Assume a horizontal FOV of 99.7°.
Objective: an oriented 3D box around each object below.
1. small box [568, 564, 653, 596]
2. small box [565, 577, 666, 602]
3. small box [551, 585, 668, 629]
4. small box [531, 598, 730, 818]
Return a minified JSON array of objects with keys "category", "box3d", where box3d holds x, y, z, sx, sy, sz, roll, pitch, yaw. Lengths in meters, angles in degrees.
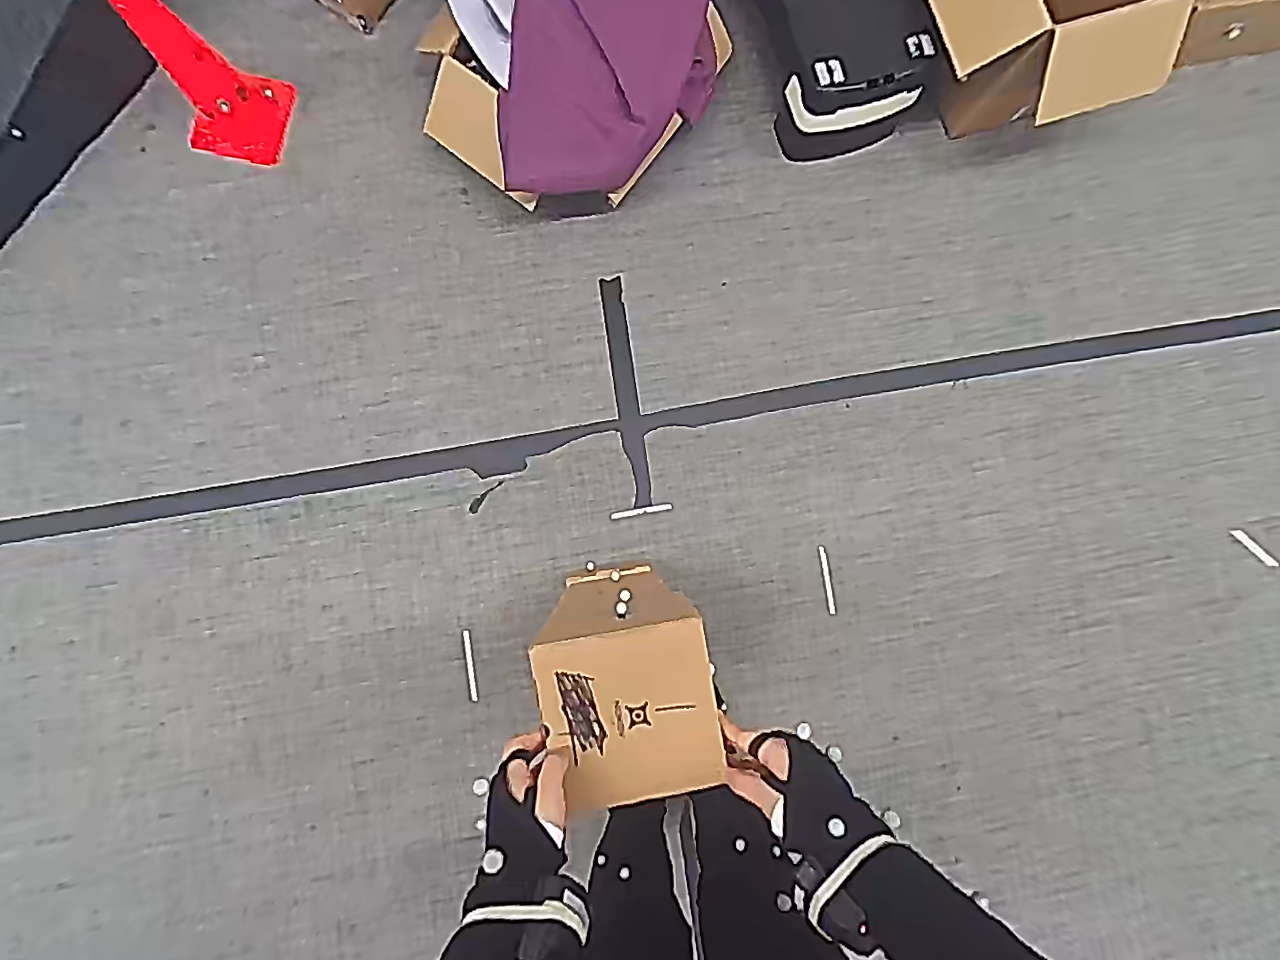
[{"category":"small box","box3d":[-0.049,0.270,1.097,0.168,0.176,0.179,-9,88,-2]},{"category":"small box","box3d":[-0.033,0.266,0.933,0.168,0.176,0.179,-8,87,-2]},{"category":"small box","box3d":[-0.025,0.257,0.770,0.168,0.176,0.179,-8,87,-3]},{"category":"small box","box3d":[-0.012,0.237,0.606,0.179,0.176,0.168,-10,88,-3]}]
